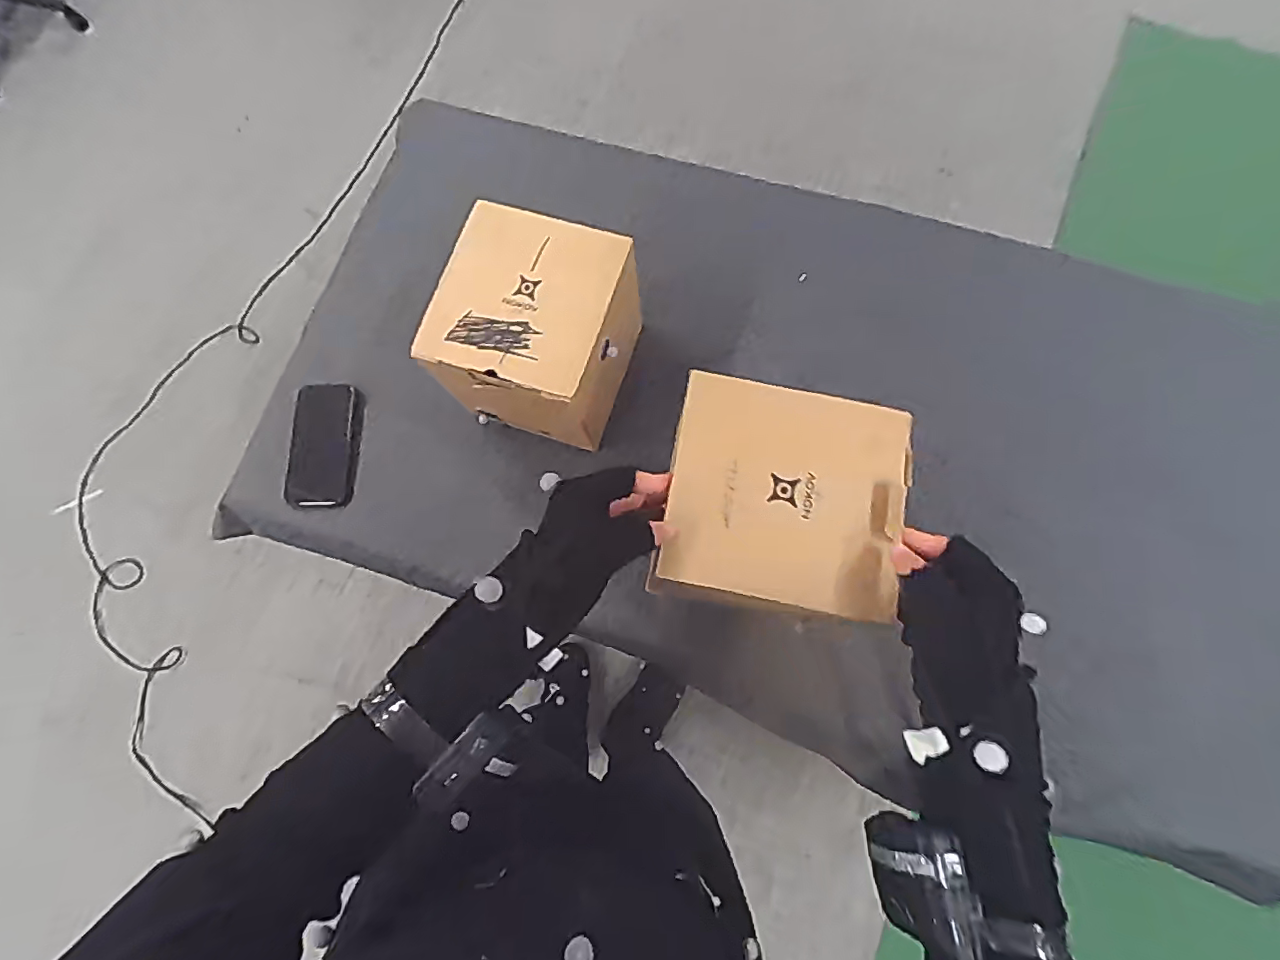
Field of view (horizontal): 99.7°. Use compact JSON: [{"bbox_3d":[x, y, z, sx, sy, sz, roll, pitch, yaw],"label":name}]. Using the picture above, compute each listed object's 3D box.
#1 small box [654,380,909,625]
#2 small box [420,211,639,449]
[{"bbox_3d":[0.112,0.032,0.486,0.179,0.176,0.168,10,74,2],"label":"small box"},{"bbox_3d":[-0.103,-0.150,0.596,0.168,0.176,0.179,17,78,6],"label":"small box"}]
